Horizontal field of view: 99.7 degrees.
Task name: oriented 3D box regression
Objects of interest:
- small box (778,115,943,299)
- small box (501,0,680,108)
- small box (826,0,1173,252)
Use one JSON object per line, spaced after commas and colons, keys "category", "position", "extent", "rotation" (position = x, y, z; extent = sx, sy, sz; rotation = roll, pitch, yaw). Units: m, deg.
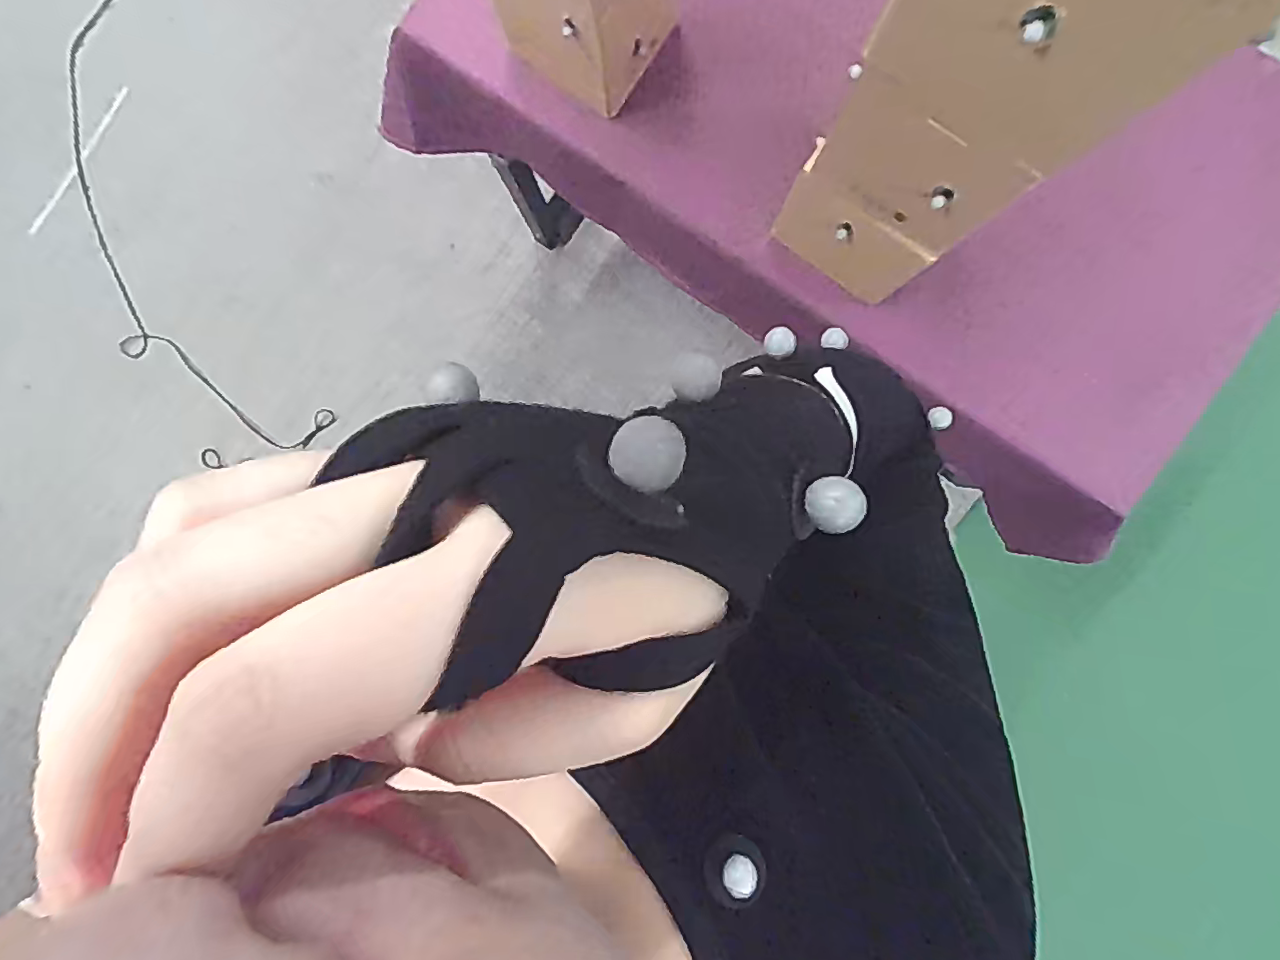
{"category": "small box", "position": [0.296, -0.350, 0.660], "extent": [0.179, 0.176, 0.168], "rotation": [37, 93, -1]}
{"category": "small box", "position": [-0.062, -0.607, 0.655], "extent": [0.179, 0.176, 0.168], "rotation": [35, 92, -2]}
{"category": "small box", "position": [0.297, -0.348, 0.497], "extent": [0.168, 0.176, 0.179], "rotation": [34, 92, -1]}
